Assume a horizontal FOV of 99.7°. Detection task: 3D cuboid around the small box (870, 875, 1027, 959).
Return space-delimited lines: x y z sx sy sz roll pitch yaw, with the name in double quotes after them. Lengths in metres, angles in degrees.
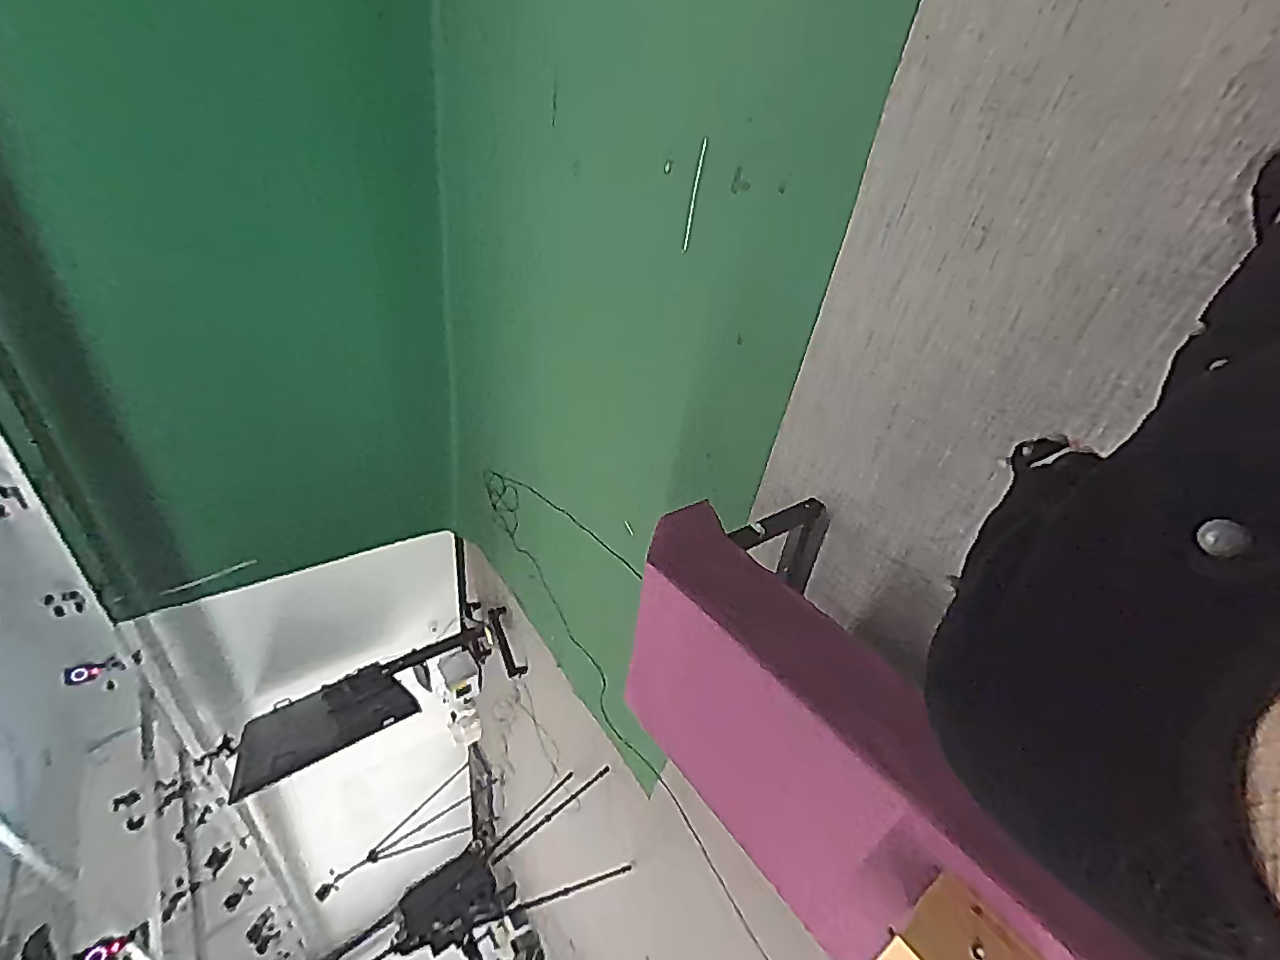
0.499 0.799 0.879 0.168 0.176 0.179 39 133 40 "small box"
